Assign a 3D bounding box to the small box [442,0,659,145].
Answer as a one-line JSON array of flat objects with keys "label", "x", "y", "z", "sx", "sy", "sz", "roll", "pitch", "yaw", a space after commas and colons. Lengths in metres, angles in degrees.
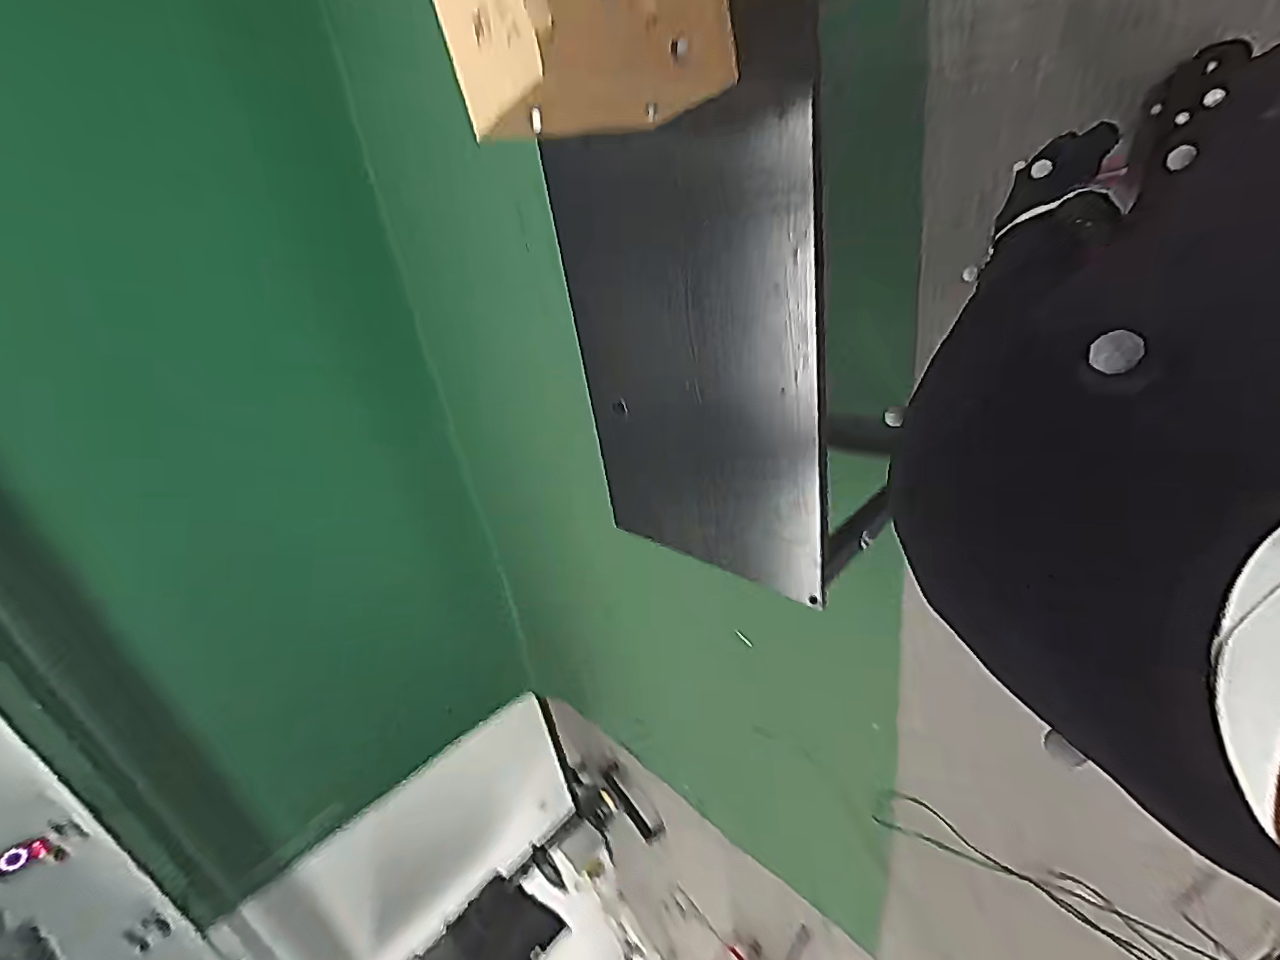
[{"label": "small box", "x": -0.105, "y": -0.528, "z": 0.655, "sx": 0.179, "sy": 0.176, "sz": 0.168, "roll": 7, "pitch": 119, "yaw": 49}]
